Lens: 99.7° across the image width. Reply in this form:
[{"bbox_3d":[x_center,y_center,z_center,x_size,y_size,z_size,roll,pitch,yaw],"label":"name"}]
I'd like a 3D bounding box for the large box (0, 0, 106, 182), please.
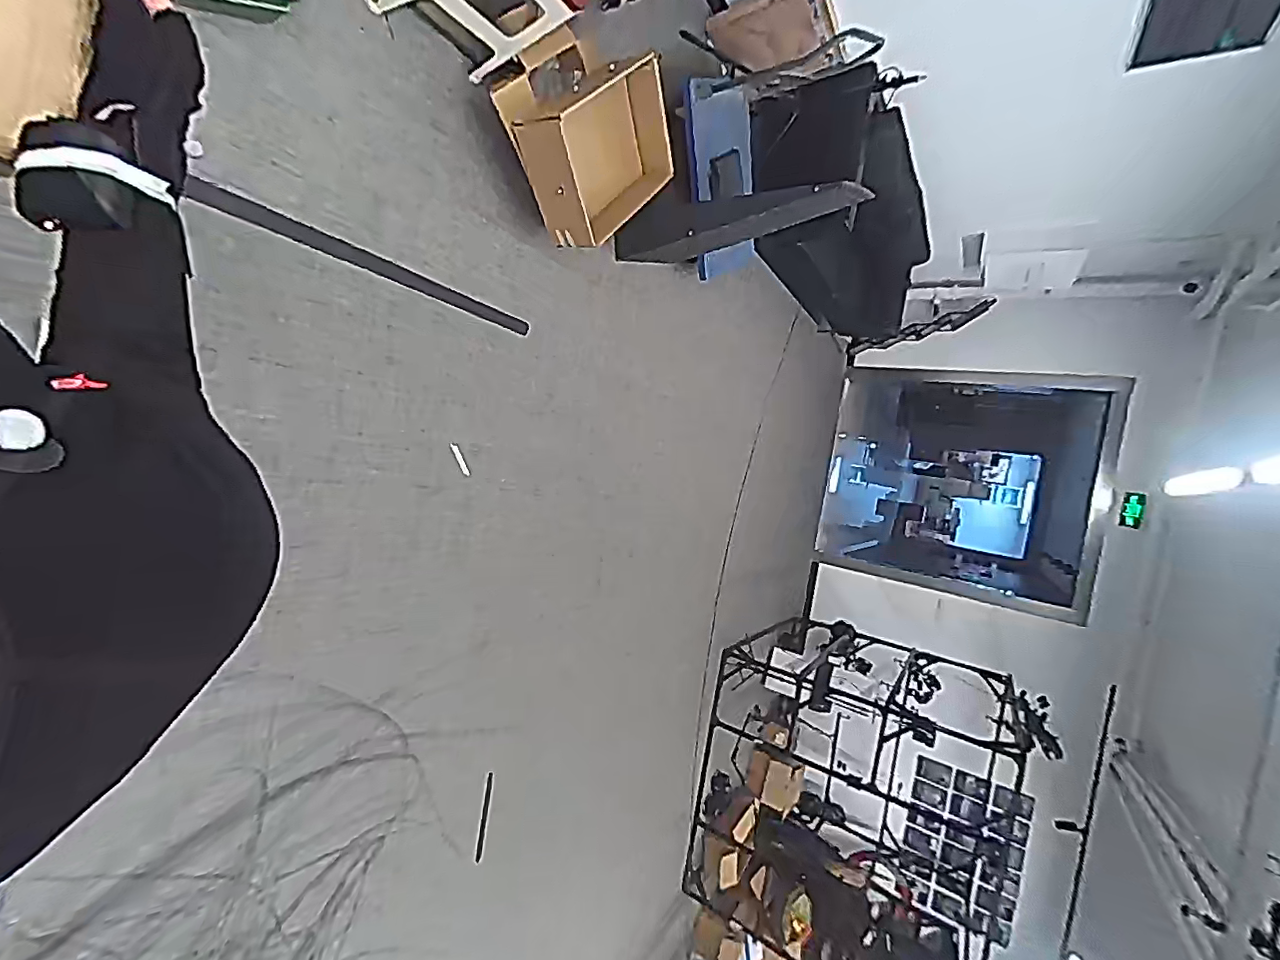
[{"bbox_3d":[-0.624,-0.424,0.297,0.408,0.320,0.320,4,104,-65],"label":"large box"}]
